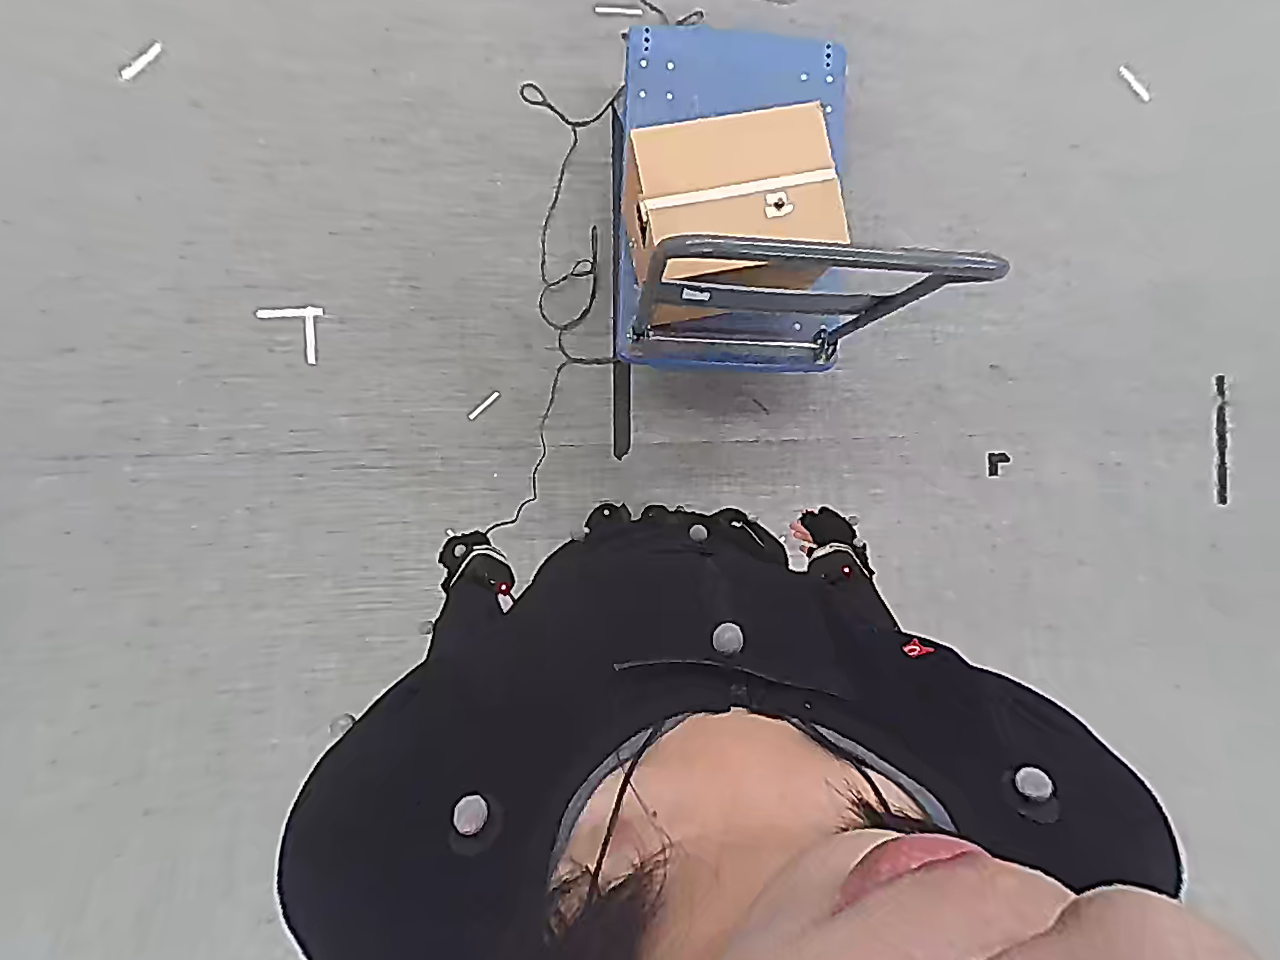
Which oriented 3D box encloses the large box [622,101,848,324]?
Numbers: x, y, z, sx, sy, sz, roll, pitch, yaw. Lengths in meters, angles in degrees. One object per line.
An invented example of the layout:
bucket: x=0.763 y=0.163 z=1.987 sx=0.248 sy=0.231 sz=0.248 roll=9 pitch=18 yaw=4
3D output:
large box: x=0.191 y=-0.588 z=1.245 sx=0.408 sy=0.320 sz=0.320 roll=-12 pitch=90 yaw=-5
